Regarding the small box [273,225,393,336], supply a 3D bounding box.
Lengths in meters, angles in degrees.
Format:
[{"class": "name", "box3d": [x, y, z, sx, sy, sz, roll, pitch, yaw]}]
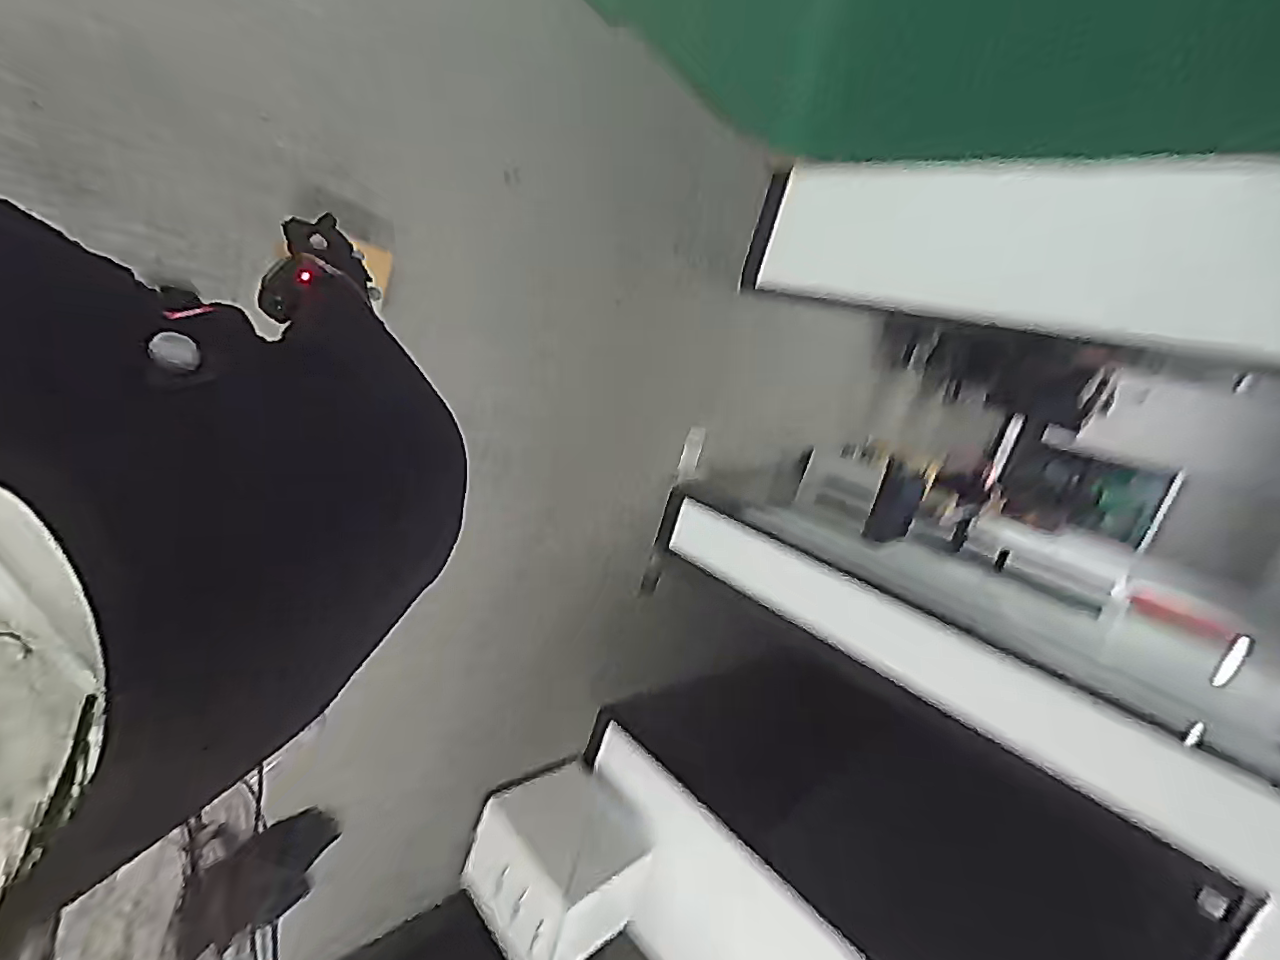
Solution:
[{"class": "small box", "box3d": [-0.677, -0.438, 1.186, 0.168, 0.176, 0.179, 10, 101, -51]}]
